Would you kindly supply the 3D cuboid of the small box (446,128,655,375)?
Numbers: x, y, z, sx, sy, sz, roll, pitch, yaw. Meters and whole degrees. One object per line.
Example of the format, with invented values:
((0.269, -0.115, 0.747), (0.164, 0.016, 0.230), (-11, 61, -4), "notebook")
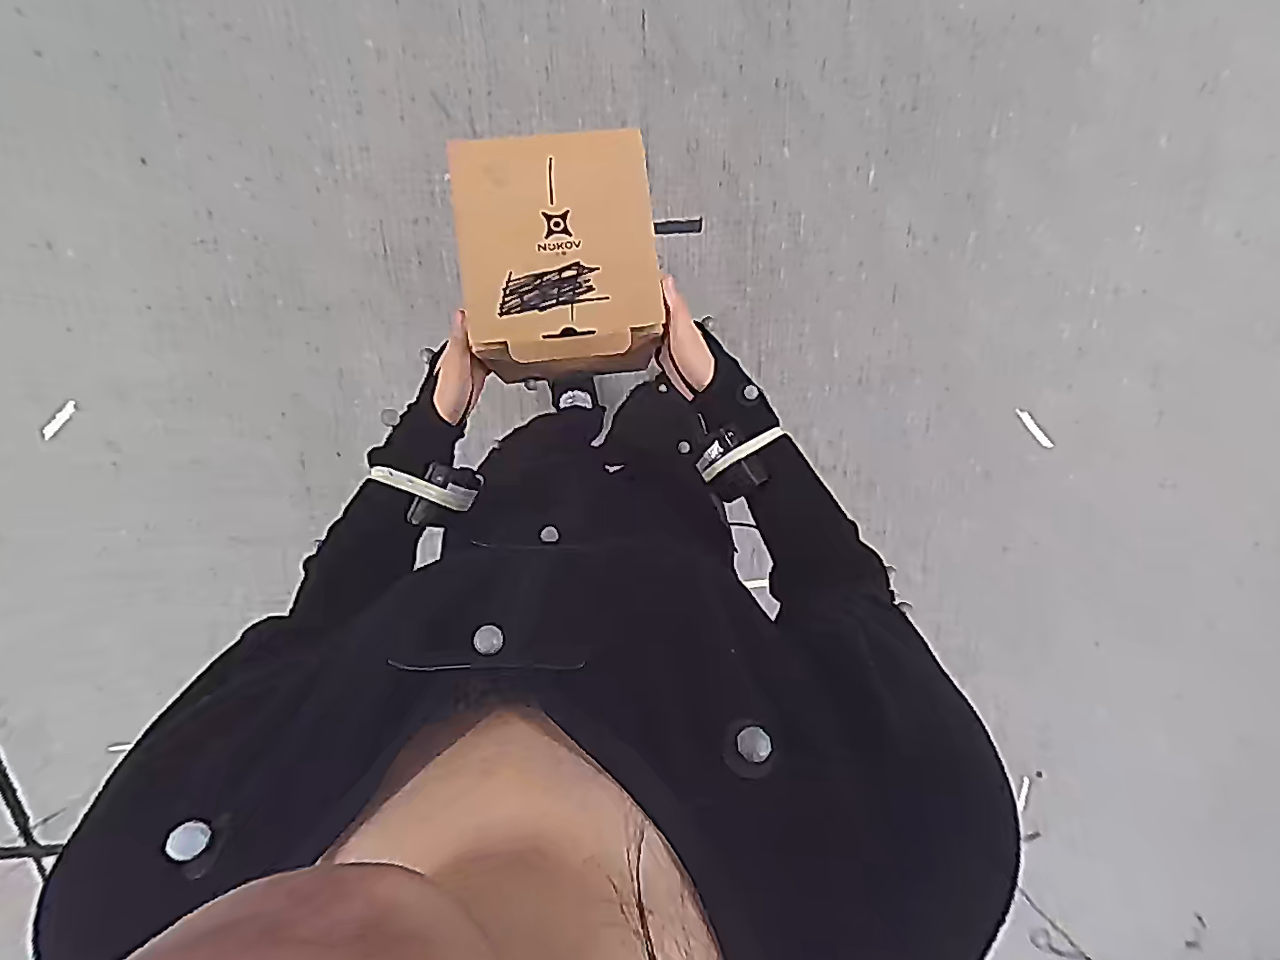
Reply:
((-0.080, -0.206, 0.535), (0.168, 0.176, 0.179), (-6, 89, -5), "small box")
